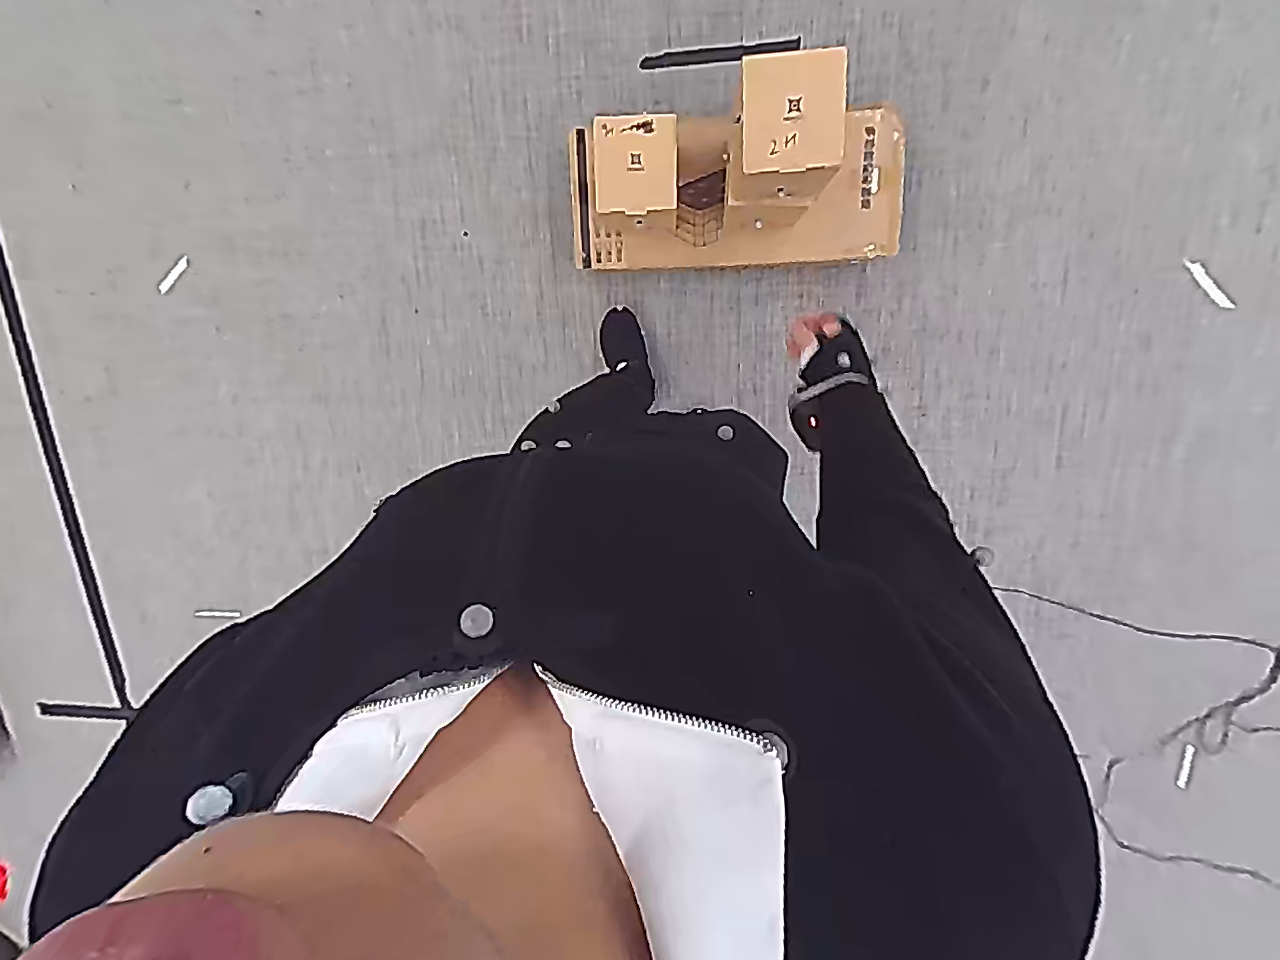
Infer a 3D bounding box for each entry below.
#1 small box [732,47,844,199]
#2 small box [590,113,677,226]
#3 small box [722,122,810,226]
[{"bbox_3d":[0.252,-0.620,0.961,0.168,0.176,0.179,-1,103,5],"label":"small box"},{"bbox_3d":[-0.008,-0.644,1.145,0.168,0.176,0.179,1,105,6],"label":"small box"},{"bbox_3d":[0.261,-0.644,1.125,0.168,0.176,0.179,3,104,5],"label":"small box"}]
